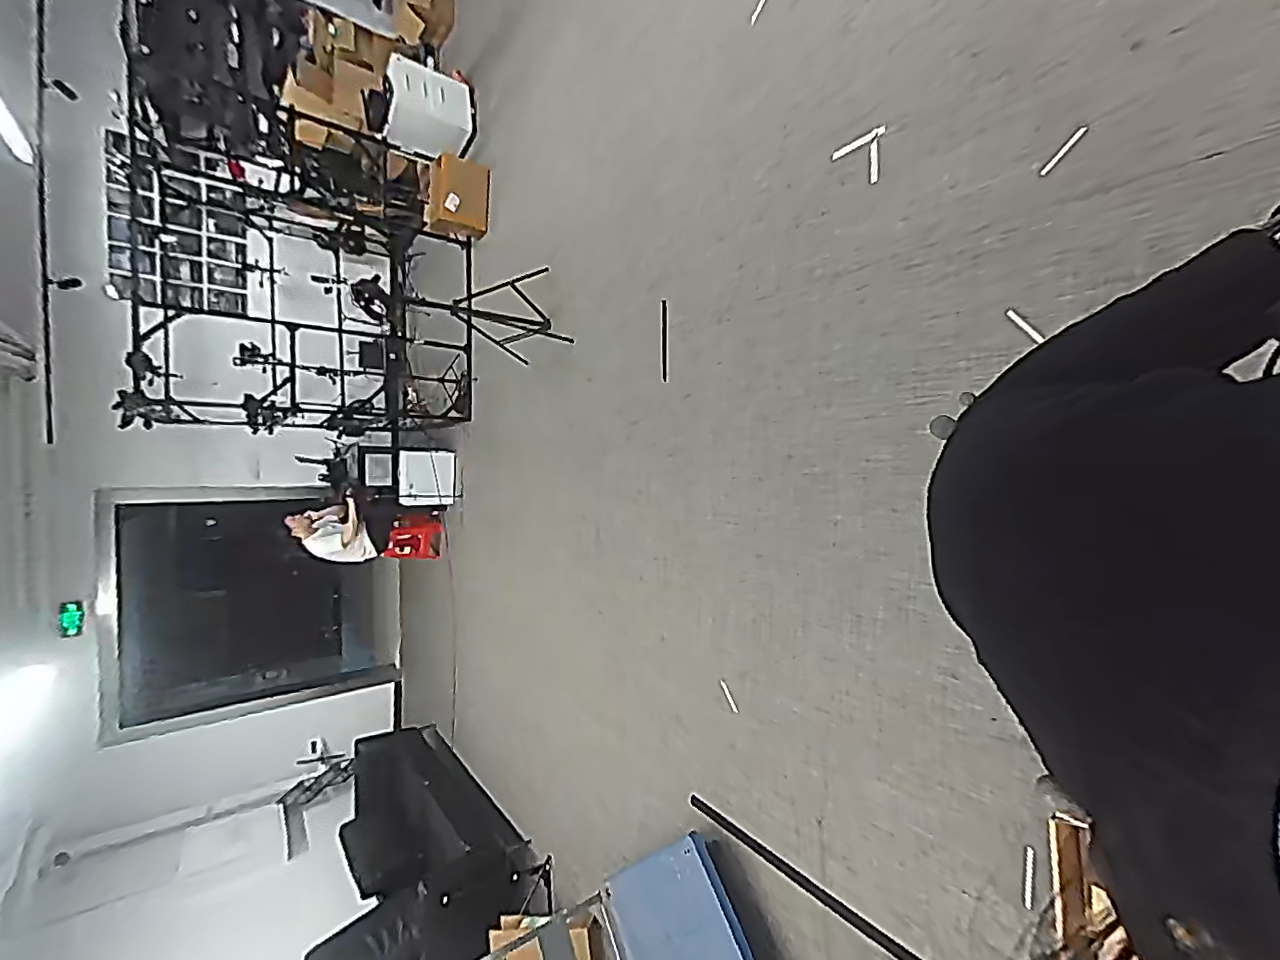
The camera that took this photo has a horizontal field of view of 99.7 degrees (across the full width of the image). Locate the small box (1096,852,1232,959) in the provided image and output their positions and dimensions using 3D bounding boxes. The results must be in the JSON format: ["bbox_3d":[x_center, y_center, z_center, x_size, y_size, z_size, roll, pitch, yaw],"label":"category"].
[{"bbox_3d":[1.004,0.867,1.038,0.168,0.176,0.179,-3,89,53],"label":"small box"}]
